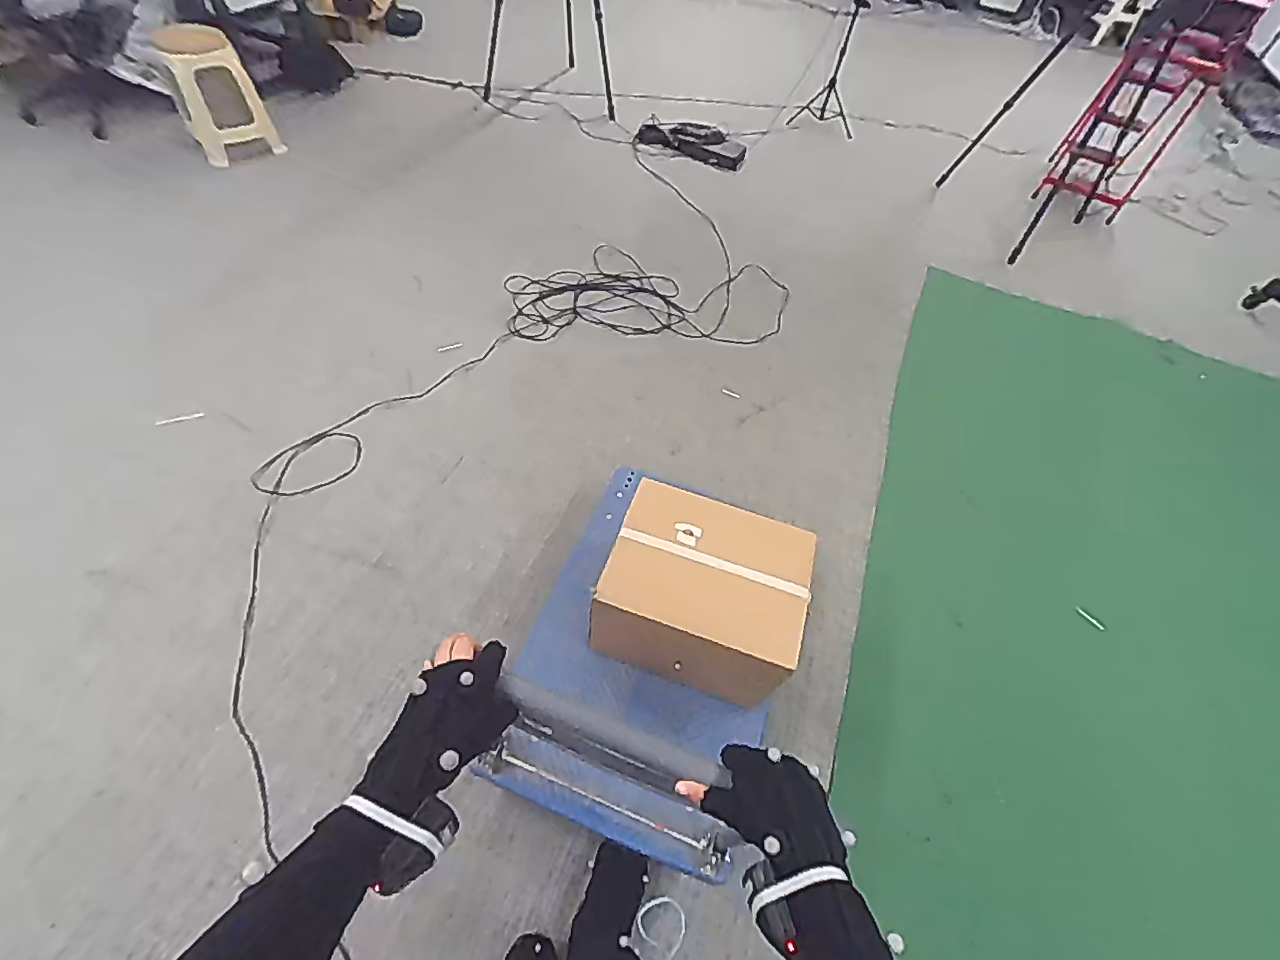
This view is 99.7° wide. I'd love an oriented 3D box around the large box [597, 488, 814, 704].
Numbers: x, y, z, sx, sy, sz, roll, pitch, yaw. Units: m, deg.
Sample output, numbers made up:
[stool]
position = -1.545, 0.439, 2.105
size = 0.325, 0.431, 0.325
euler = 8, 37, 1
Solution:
[large box]
position = 0.141, 0.271, 1.239
size = 0.408, 0.320, 0.320
euler = 17, 54, 7
